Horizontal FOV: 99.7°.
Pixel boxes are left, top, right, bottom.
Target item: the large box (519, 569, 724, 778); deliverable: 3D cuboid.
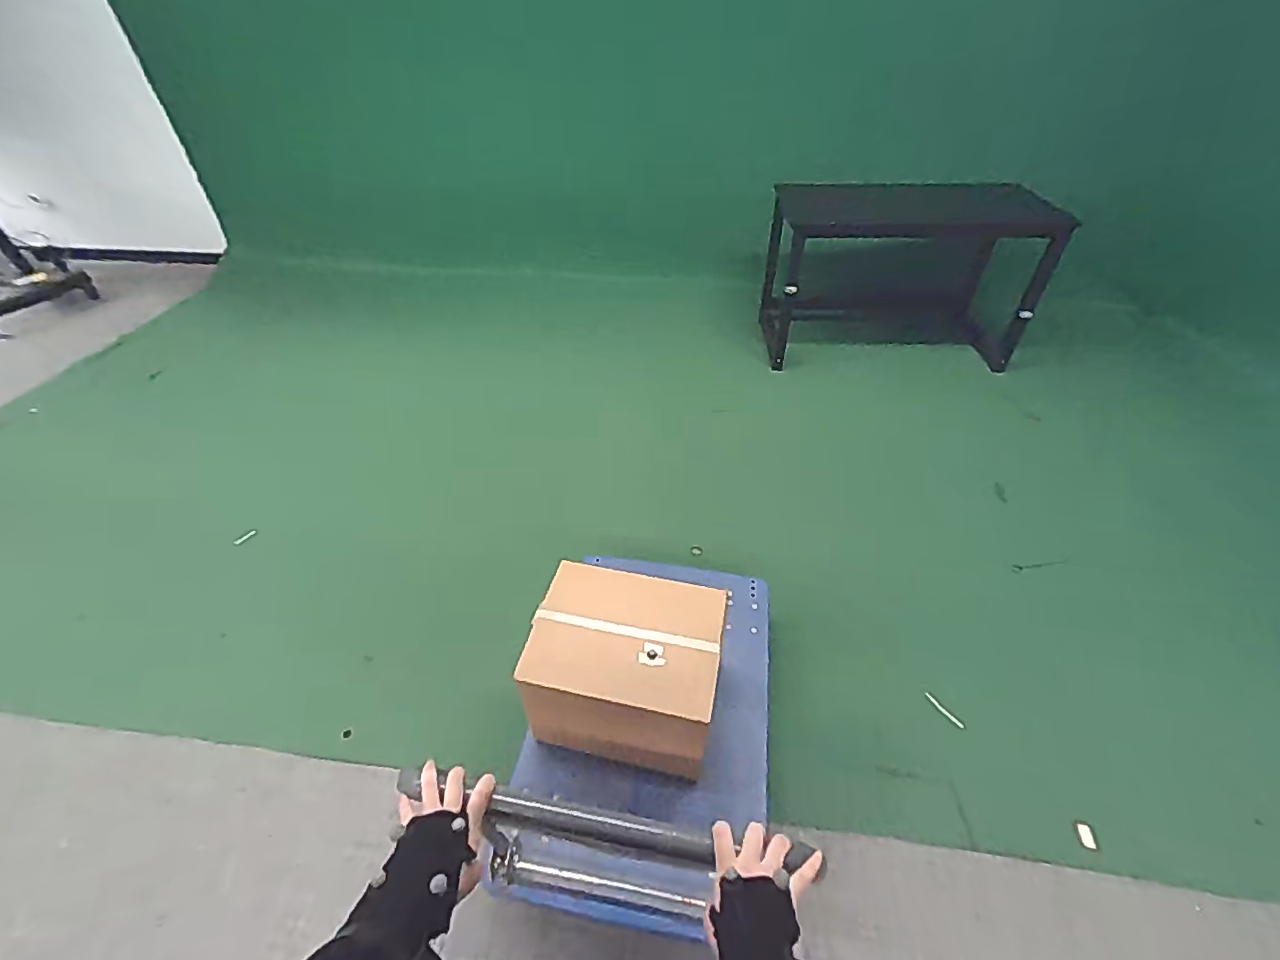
[{"bbox_3d":[-0.030,0.454,1.284,0.408,0.320,0.320,9,43,9],"label":"large box"}]
